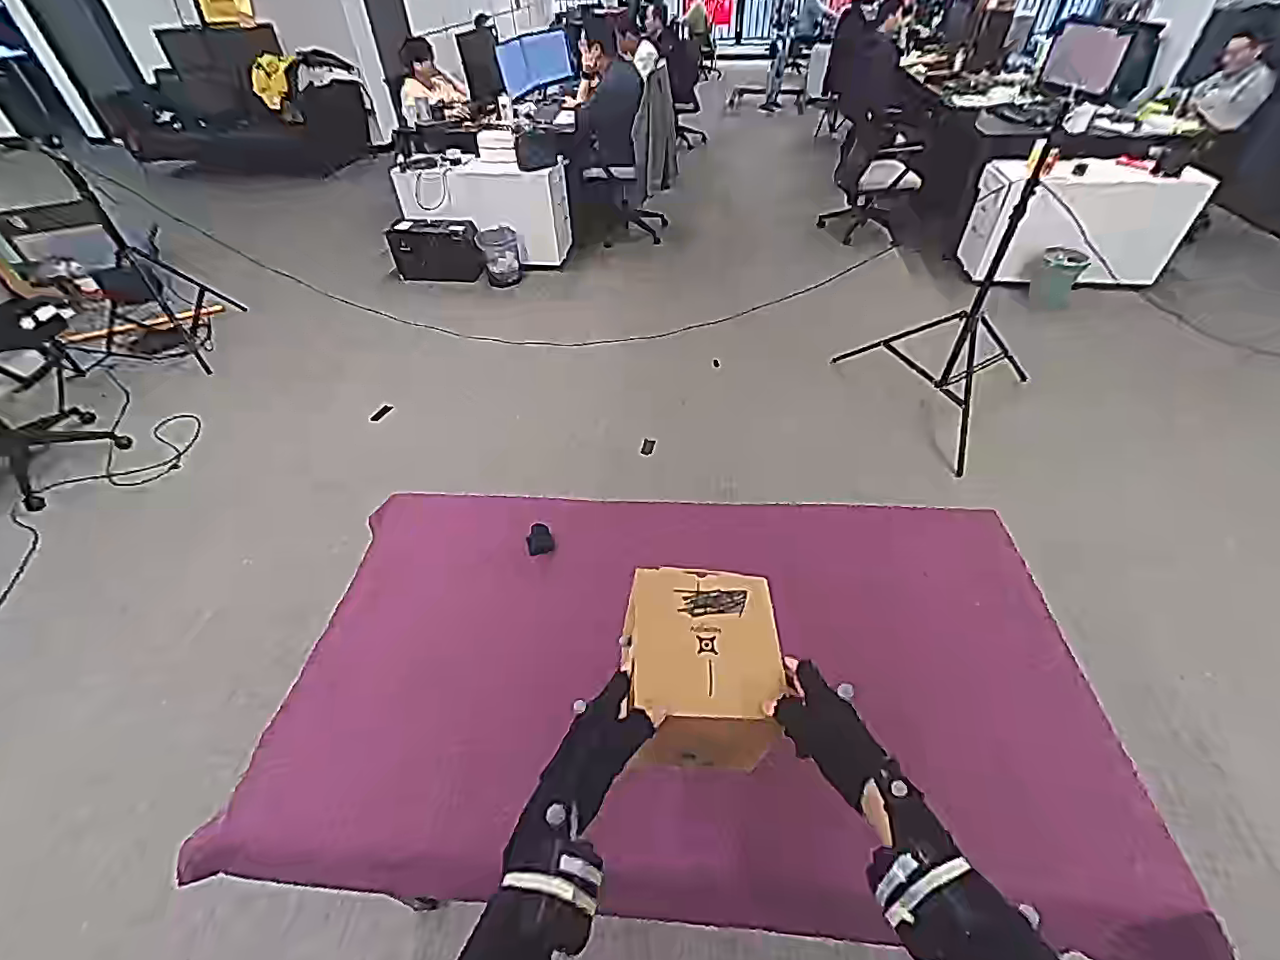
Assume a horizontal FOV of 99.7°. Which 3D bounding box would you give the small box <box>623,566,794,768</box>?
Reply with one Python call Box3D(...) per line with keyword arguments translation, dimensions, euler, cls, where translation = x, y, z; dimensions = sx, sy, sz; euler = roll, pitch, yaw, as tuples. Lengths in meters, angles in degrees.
Box3D(translation=(0.069, 0.229, 0.661), dimensions=(0.168, 0.176, 0.179), euler=(4, 46, -4), cls="small box")
